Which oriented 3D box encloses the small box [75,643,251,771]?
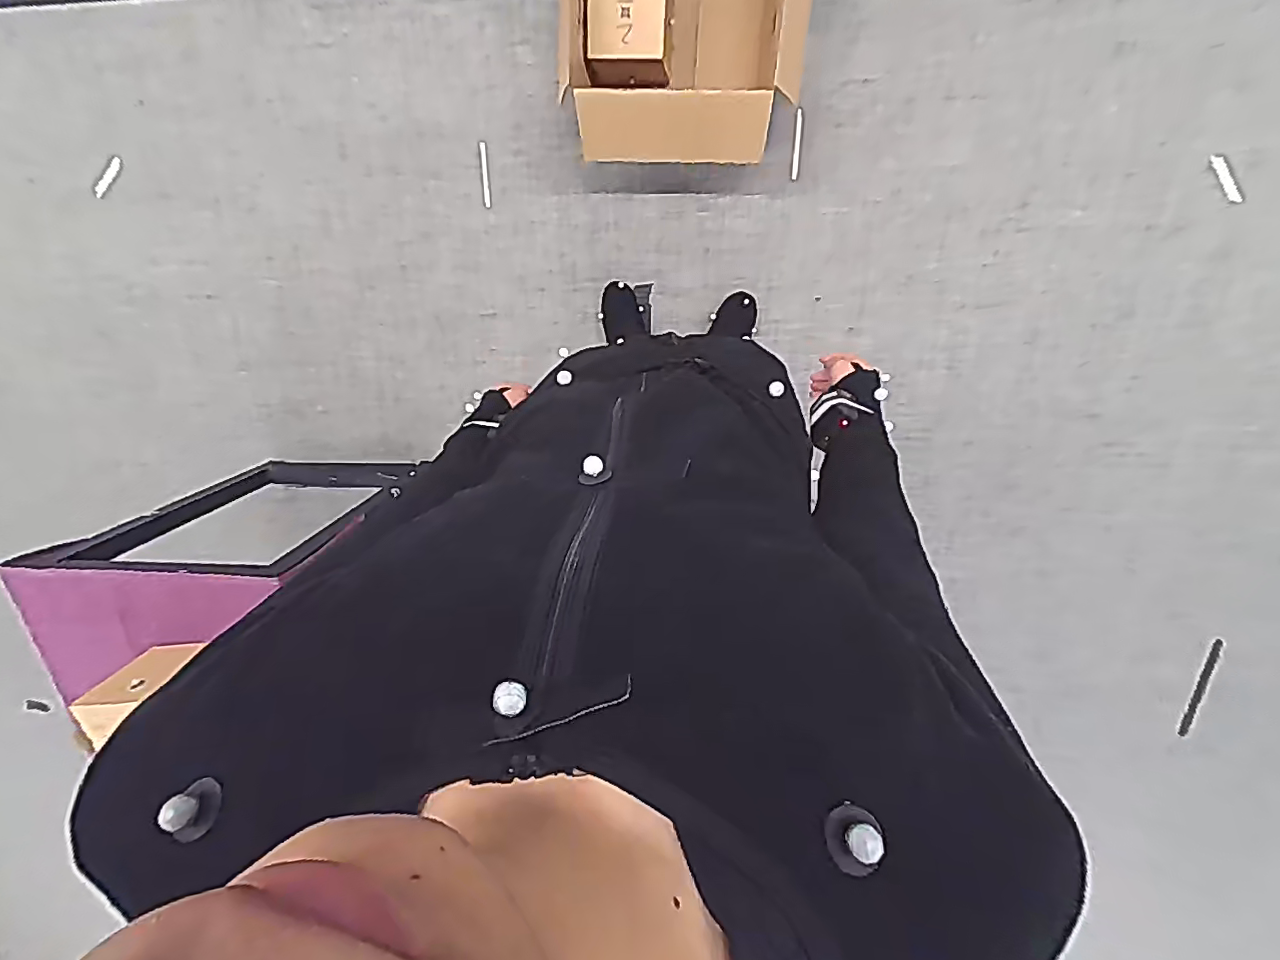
[{"bbox_3d":[-0.913,0.438,1.061,0.179,0.176,0.168,-5,110,8],"label":"small box"}]
